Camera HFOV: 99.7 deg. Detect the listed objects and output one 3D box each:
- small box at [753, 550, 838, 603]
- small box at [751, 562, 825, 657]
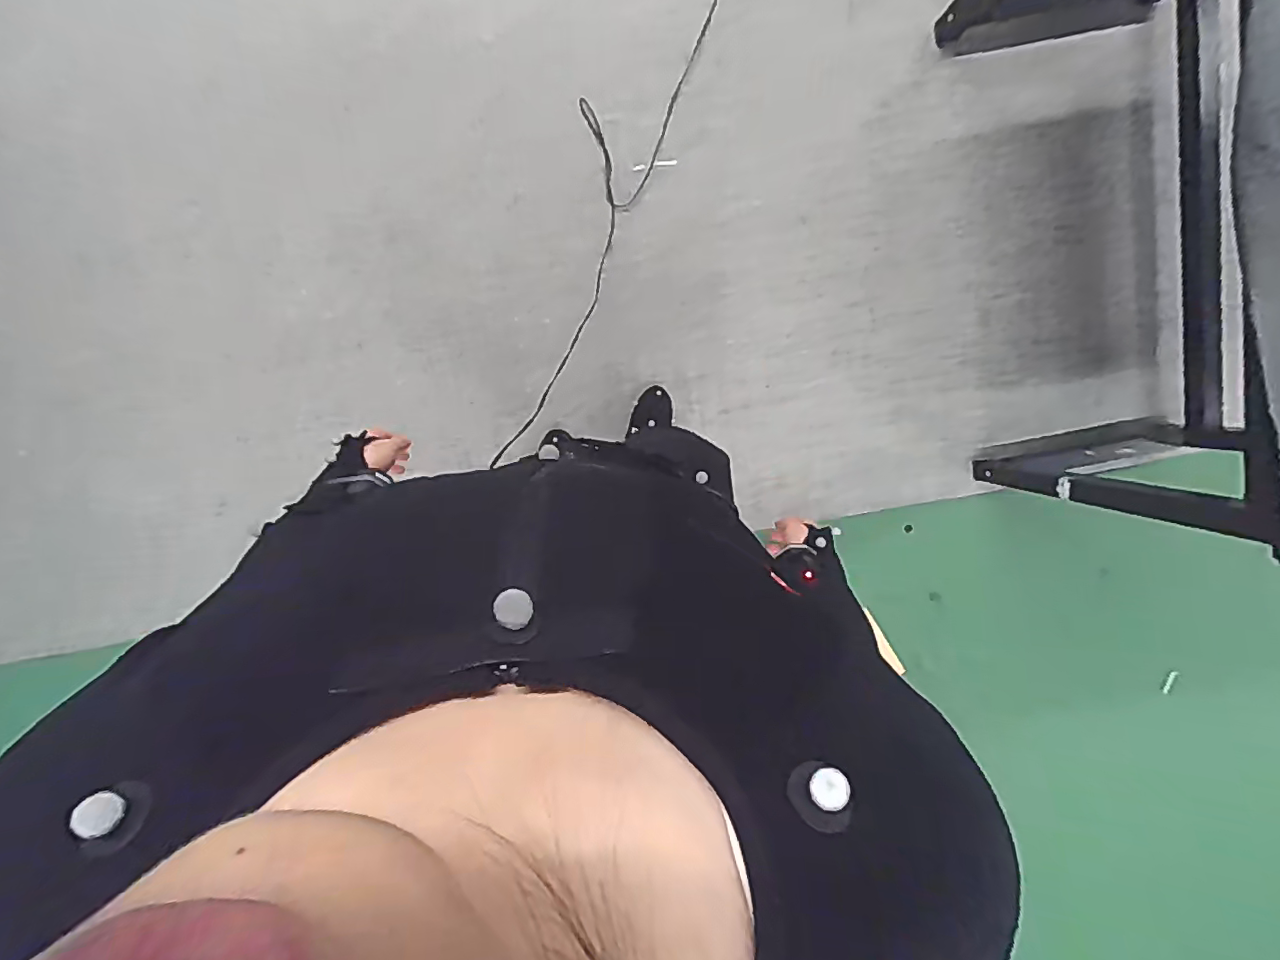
[{"bbox_3d":[0.412,0.297,1.462,0.168,0.176,0.179,6,98,-2],"label":"small box"},{"bbox_3d":[0.387,0.321,1.300,0.168,0.176,0.179,27,97,-4],"label":"small box"}]
